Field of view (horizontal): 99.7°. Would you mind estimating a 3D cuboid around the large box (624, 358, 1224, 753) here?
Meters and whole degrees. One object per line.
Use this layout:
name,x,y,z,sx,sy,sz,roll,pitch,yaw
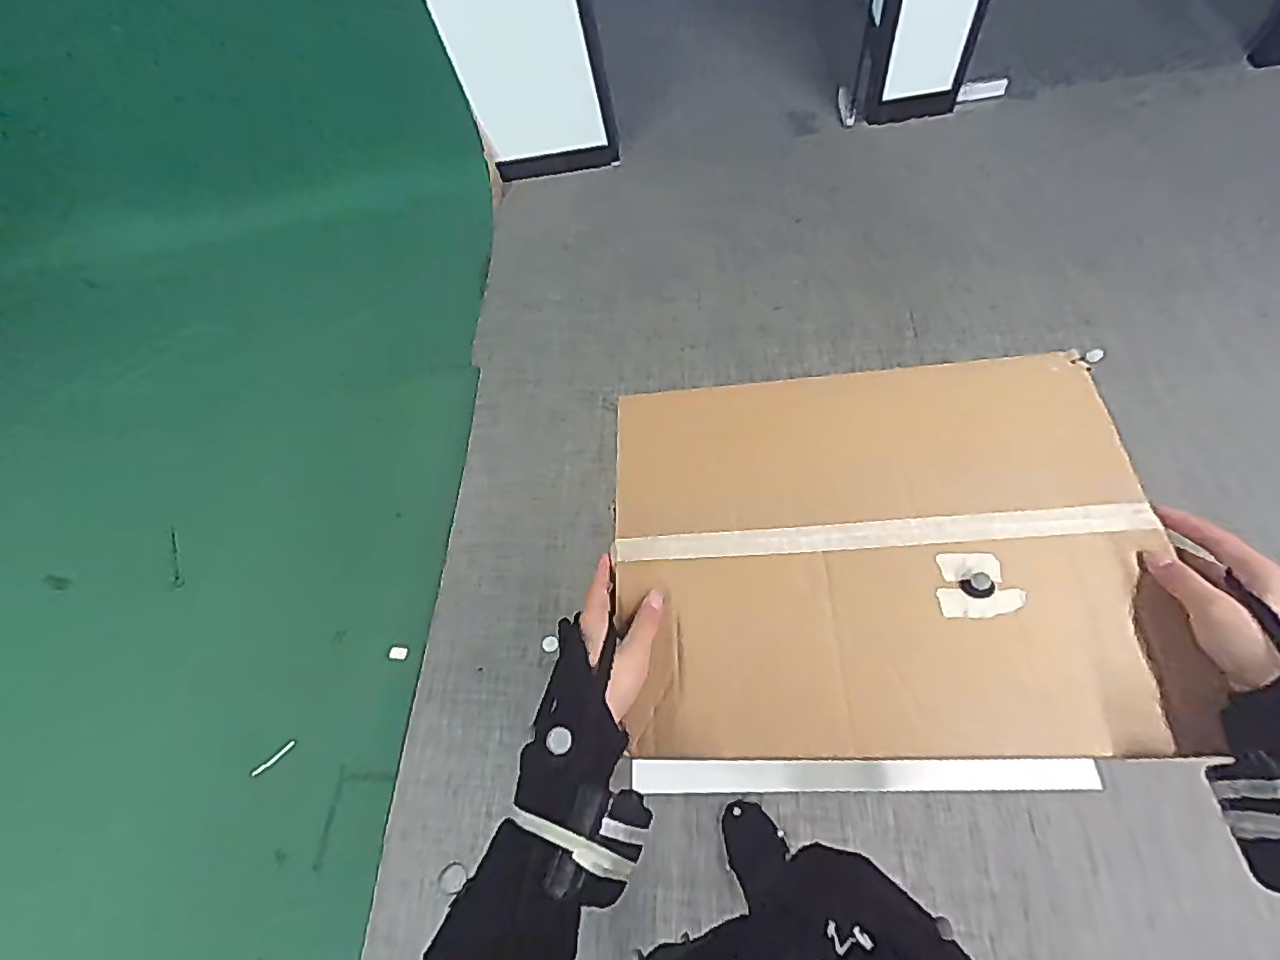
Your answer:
large box,0.204,0.108,0.572,0.408,0.320,0.320,-4,65,7
